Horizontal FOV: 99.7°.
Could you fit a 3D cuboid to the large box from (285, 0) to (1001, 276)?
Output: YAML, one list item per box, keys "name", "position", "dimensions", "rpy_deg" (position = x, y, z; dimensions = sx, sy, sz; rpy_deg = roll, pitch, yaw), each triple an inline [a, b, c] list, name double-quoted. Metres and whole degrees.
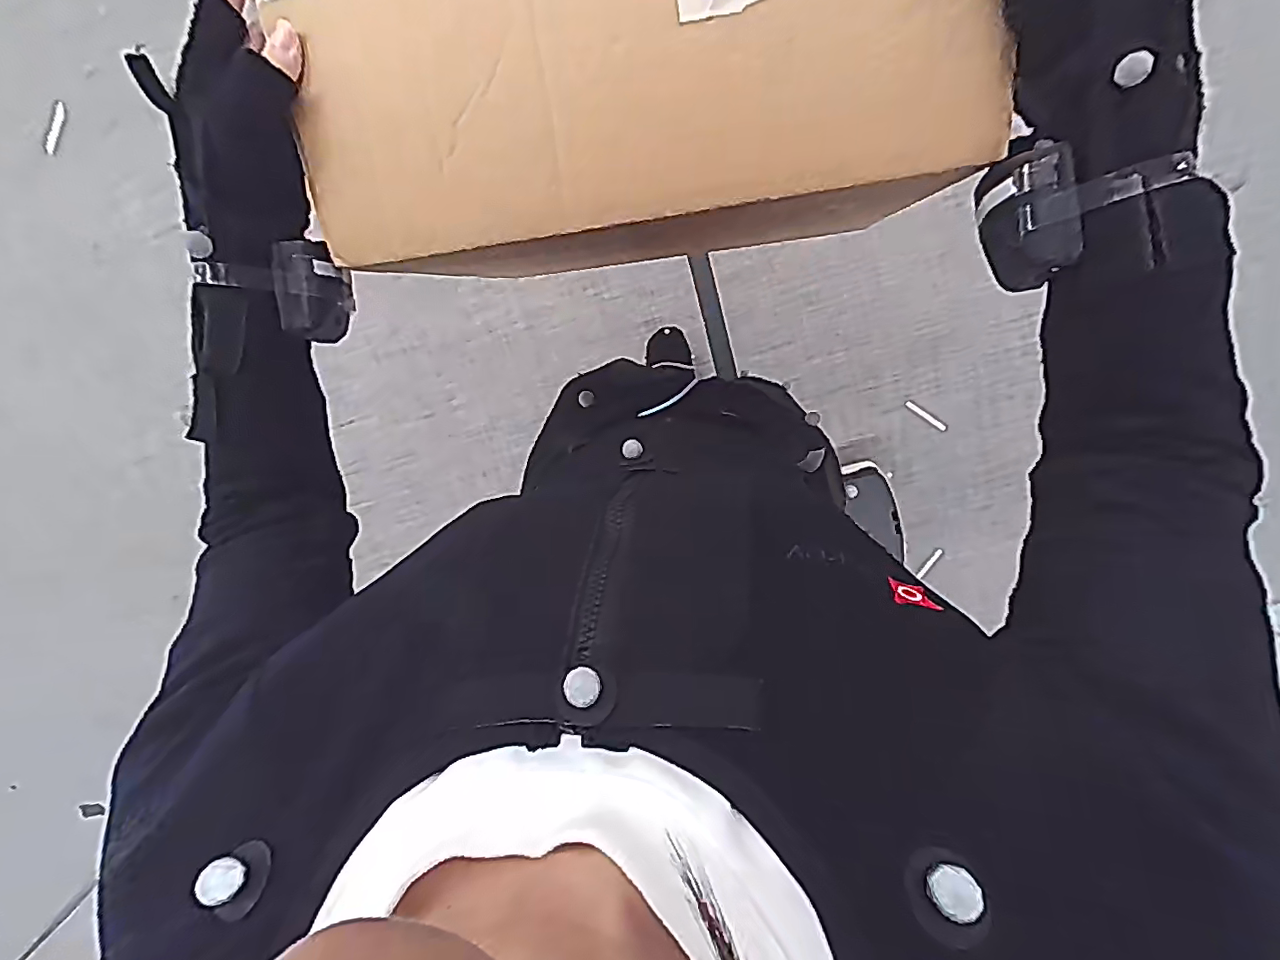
- name: "large box"
  position: [0.000, -0.359, 0.427]
  dimensions: [0.408, 0.320, 0.320]
  rpy_deg: [-5, 109, 10]
